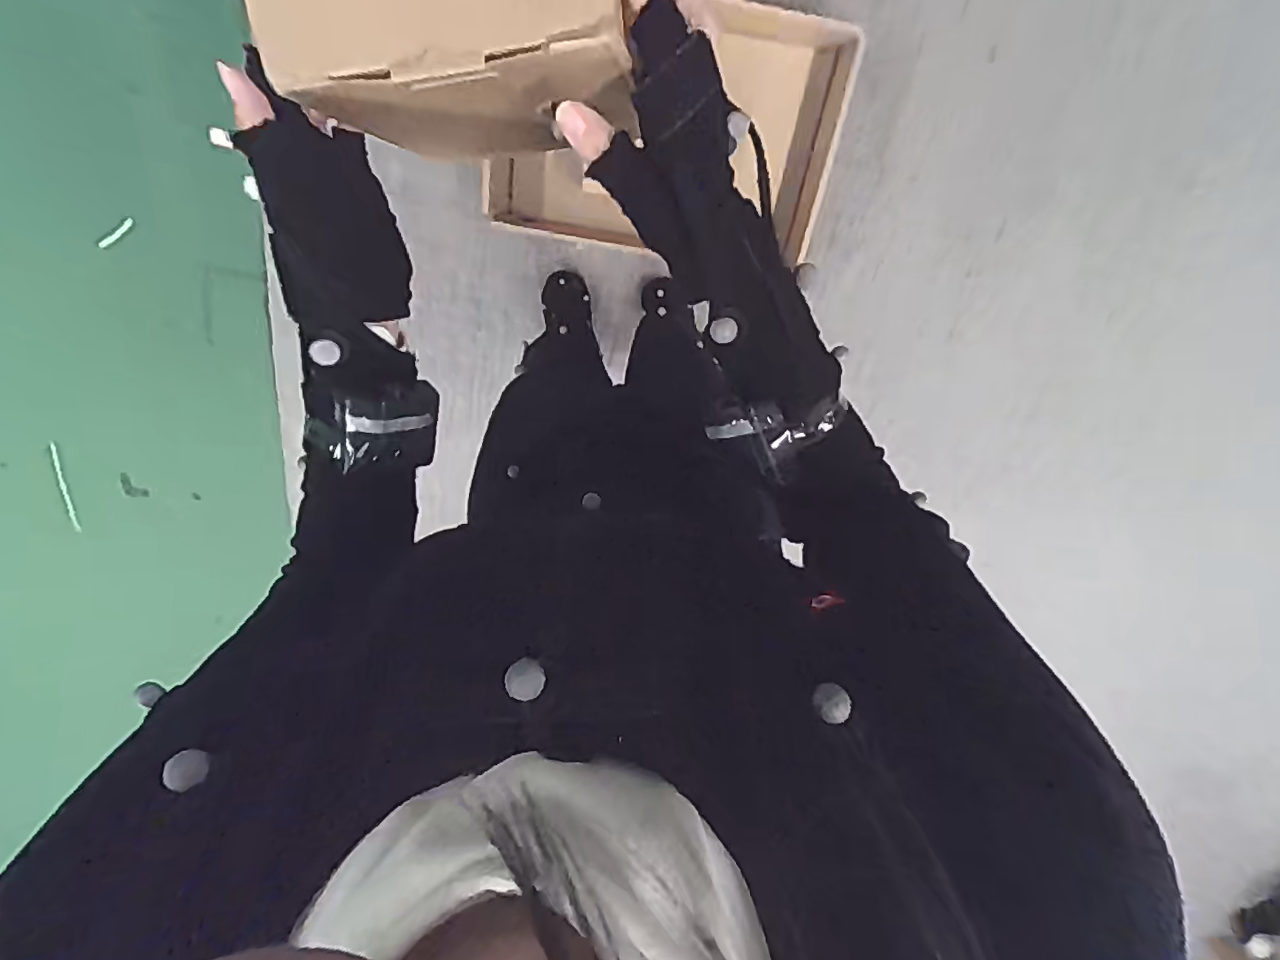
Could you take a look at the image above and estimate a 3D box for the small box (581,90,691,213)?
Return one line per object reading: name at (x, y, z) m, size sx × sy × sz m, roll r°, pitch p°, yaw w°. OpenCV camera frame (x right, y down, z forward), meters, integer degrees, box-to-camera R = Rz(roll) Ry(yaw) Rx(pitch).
small box at (-0.006, -0.609, 1.018) m, size 0.179 × 0.176 × 0.168 m, roll 9°, pitch 117°, yaw 0°
